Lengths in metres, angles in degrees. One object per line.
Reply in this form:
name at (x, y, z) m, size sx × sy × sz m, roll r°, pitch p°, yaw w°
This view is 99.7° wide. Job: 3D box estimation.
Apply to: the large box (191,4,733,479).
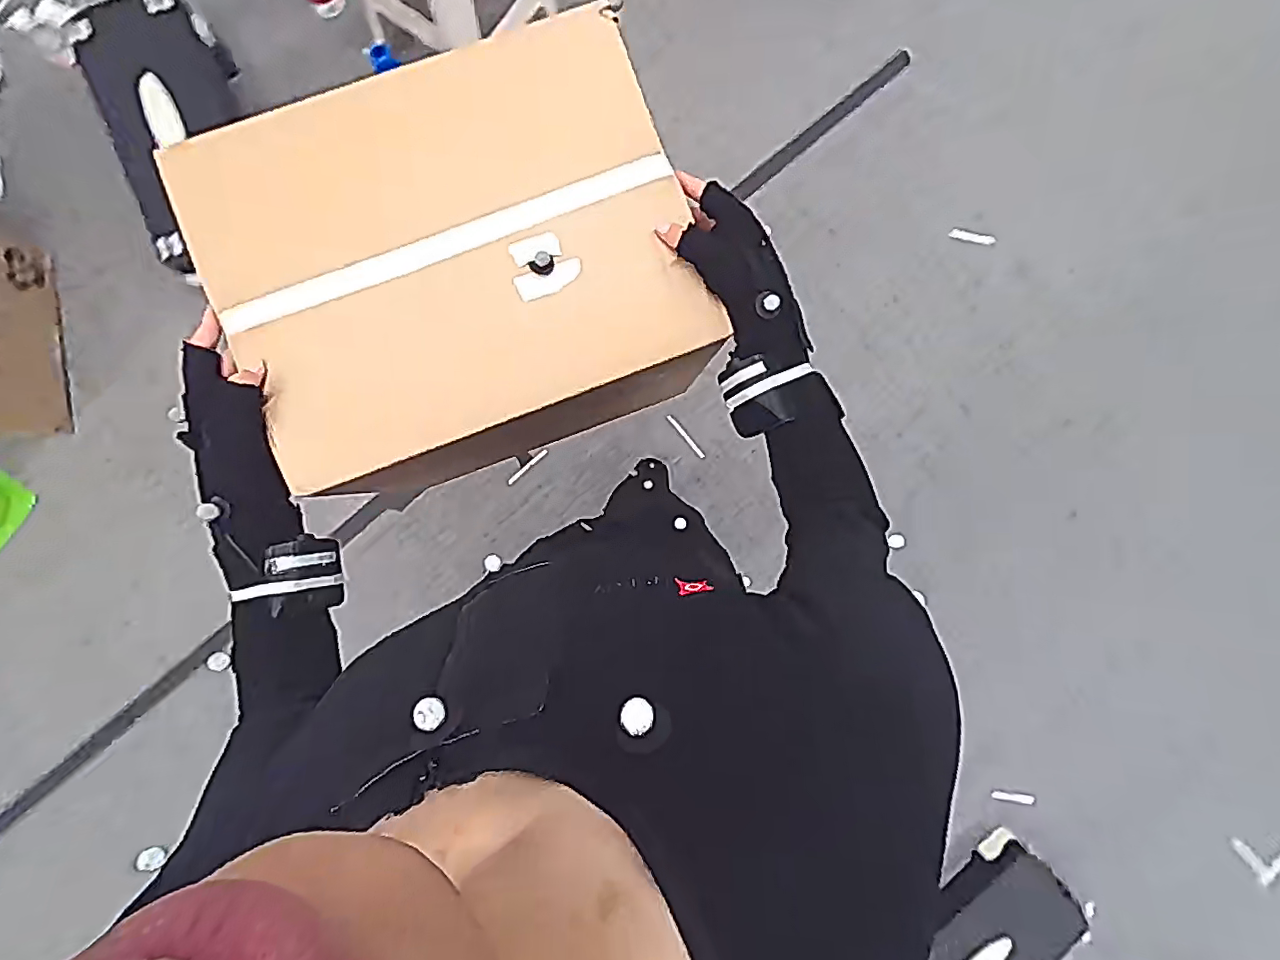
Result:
large box at (-0.160, -0.213, 0.624) m, size 0.408 × 0.320 × 0.320 m, roll -21°, pitch 92°, yaw -3°
